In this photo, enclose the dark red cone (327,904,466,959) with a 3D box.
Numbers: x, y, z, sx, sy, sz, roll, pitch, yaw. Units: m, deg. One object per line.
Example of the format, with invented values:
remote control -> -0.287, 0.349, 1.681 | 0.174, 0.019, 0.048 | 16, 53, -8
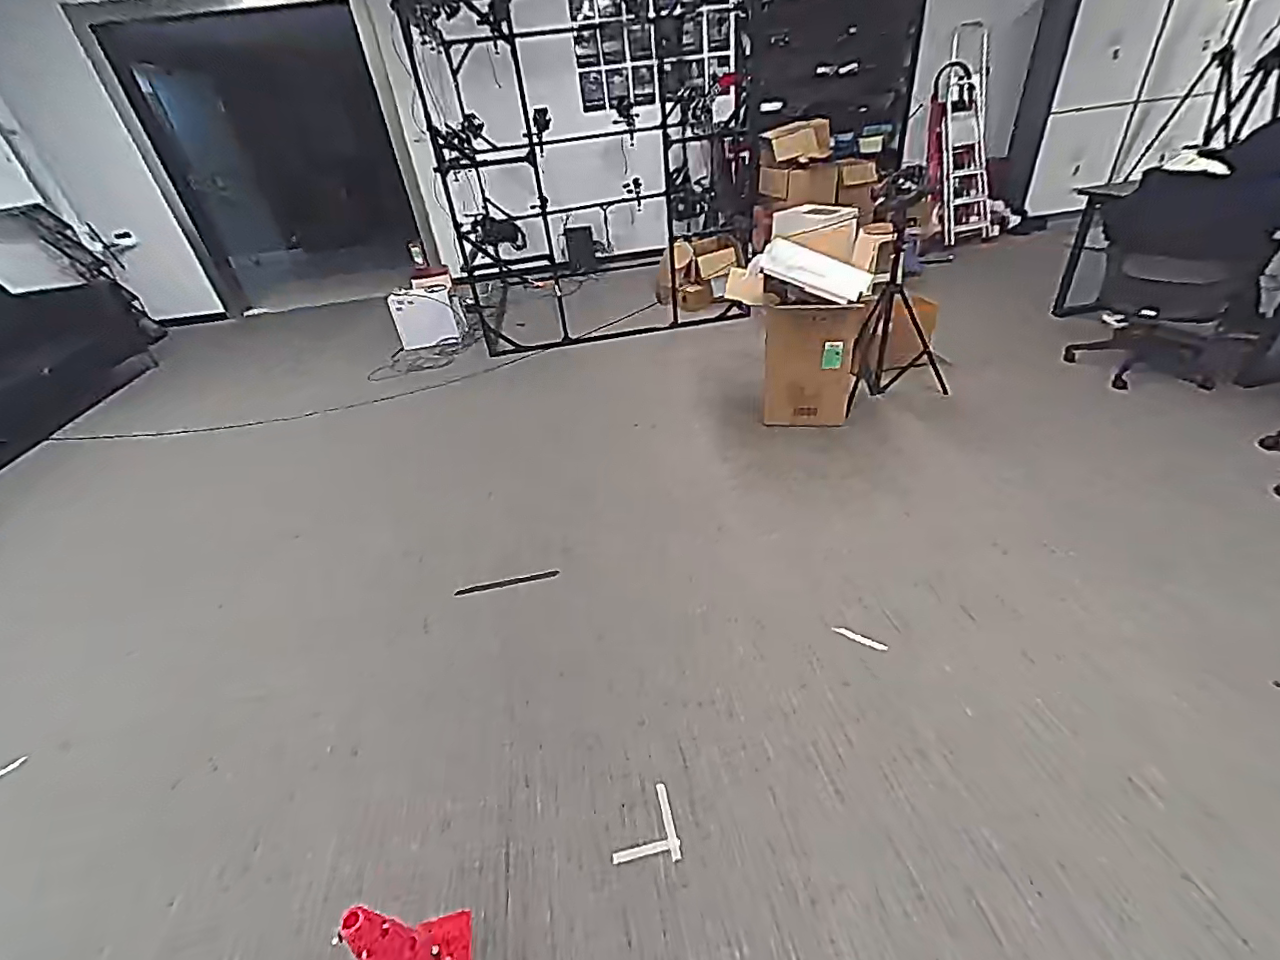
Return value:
dark red cone -> -0.462, 0.855, 0.971 | 0.202, 0.394, 0.201 | -14, 36, -10
